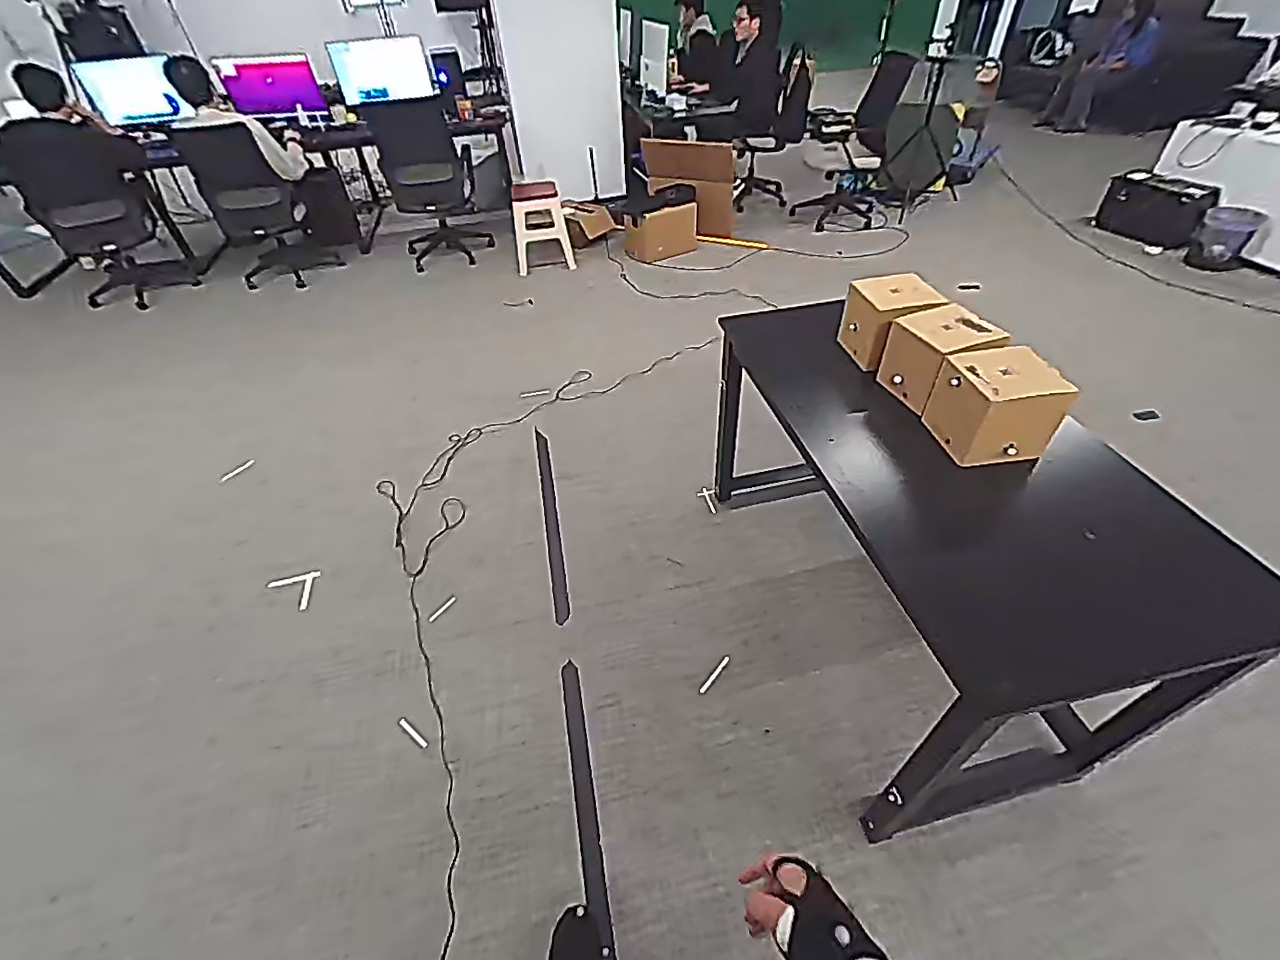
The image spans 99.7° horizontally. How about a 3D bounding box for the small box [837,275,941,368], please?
[{"bbox_3d":[0.621,-0.400,1.378,0.179,0.176,0.168,-9,44,-5],"label":"small box"}]
